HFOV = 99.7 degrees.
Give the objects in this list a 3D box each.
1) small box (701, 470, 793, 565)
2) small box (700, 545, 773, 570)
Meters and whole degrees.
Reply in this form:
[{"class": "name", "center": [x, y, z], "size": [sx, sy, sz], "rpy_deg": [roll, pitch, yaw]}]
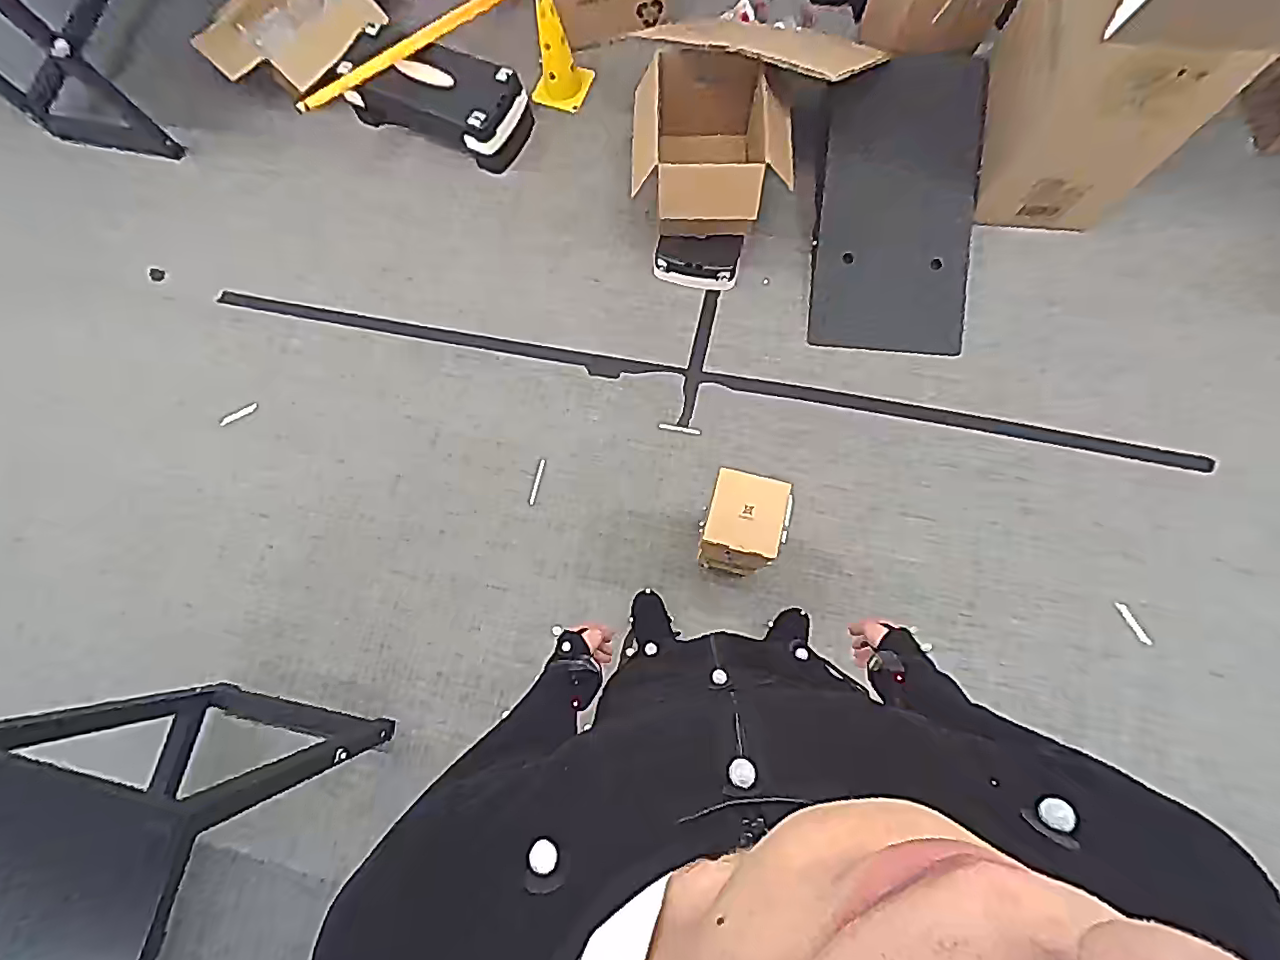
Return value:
[{"class": "small box", "center": [0.244, 0.094, 1.270], "size": [0.168, 0.176, 0.179], "rpy_deg": [14, 79, 6]}, {"class": "small box", "center": [0.261, 0.139, 1.426], "size": [0.179, 0.176, 0.168], "rpy_deg": [12, 78, 5]}]
